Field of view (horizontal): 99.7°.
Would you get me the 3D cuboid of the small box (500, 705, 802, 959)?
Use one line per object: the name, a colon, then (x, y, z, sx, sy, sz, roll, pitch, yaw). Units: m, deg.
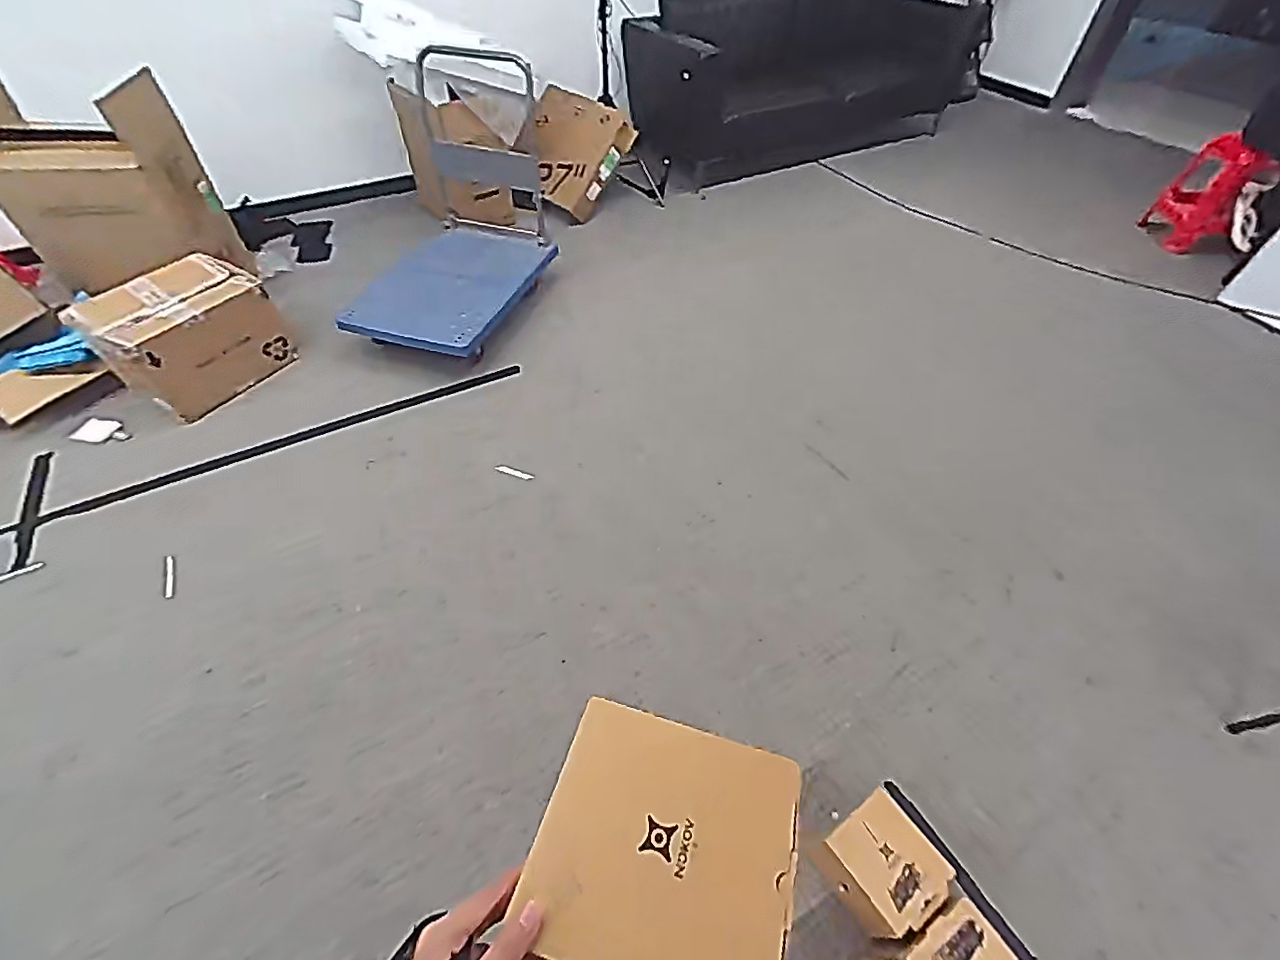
small box: (0.017, 0.314, 0.428, 0.179, 0.176, 0.168, 13, 44, 12)
